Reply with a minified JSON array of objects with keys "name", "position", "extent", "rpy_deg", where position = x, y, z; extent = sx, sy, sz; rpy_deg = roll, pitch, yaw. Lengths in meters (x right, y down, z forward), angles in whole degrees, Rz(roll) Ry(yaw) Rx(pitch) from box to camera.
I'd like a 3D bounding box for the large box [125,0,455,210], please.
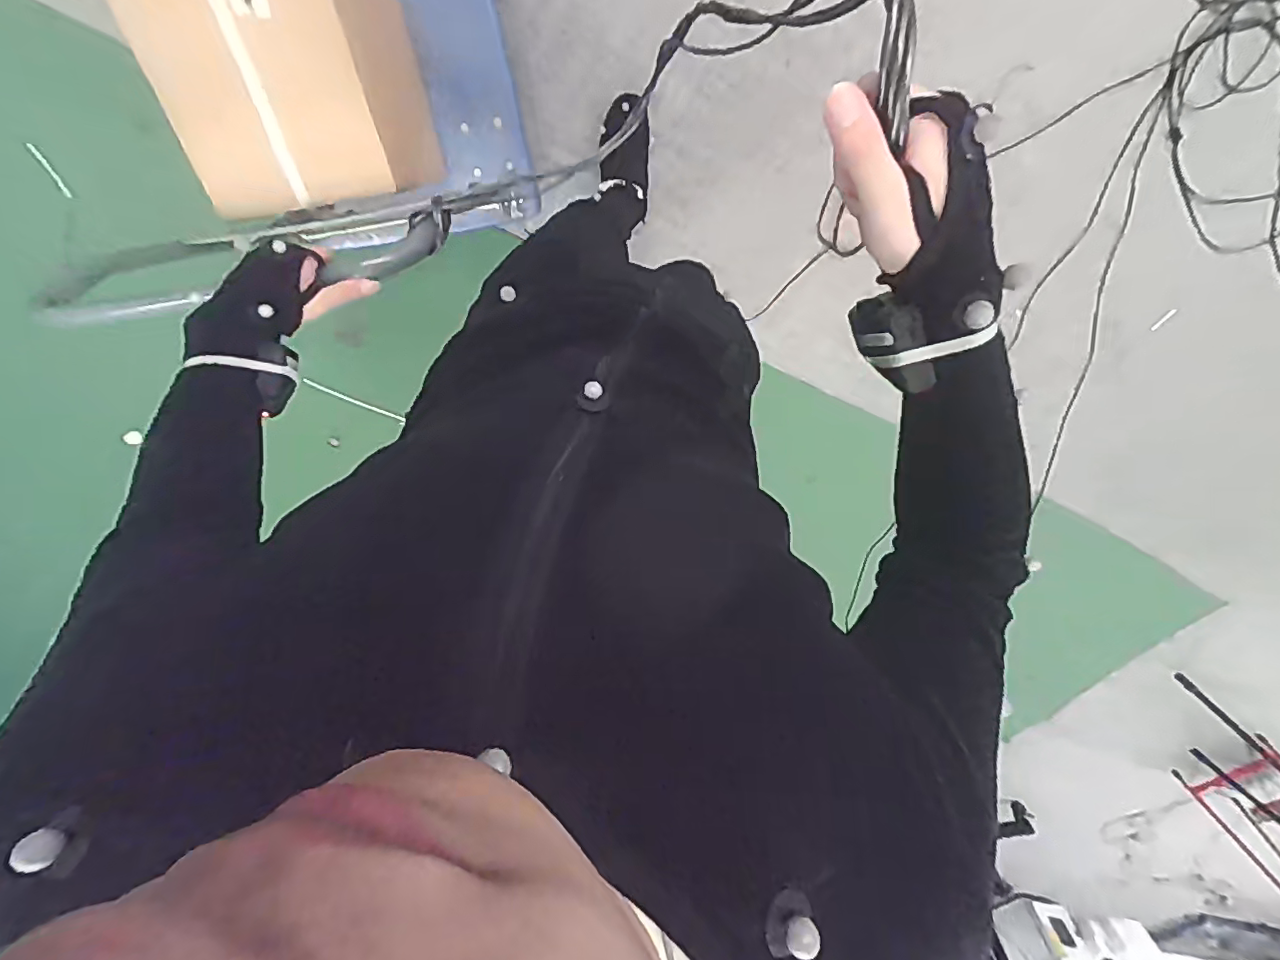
[{"name":"large box","position":[-0.563,-0.717,0.913],"extent":[0.320,0.320,0.408],"rpy_deg":[-8,123,4]}]
